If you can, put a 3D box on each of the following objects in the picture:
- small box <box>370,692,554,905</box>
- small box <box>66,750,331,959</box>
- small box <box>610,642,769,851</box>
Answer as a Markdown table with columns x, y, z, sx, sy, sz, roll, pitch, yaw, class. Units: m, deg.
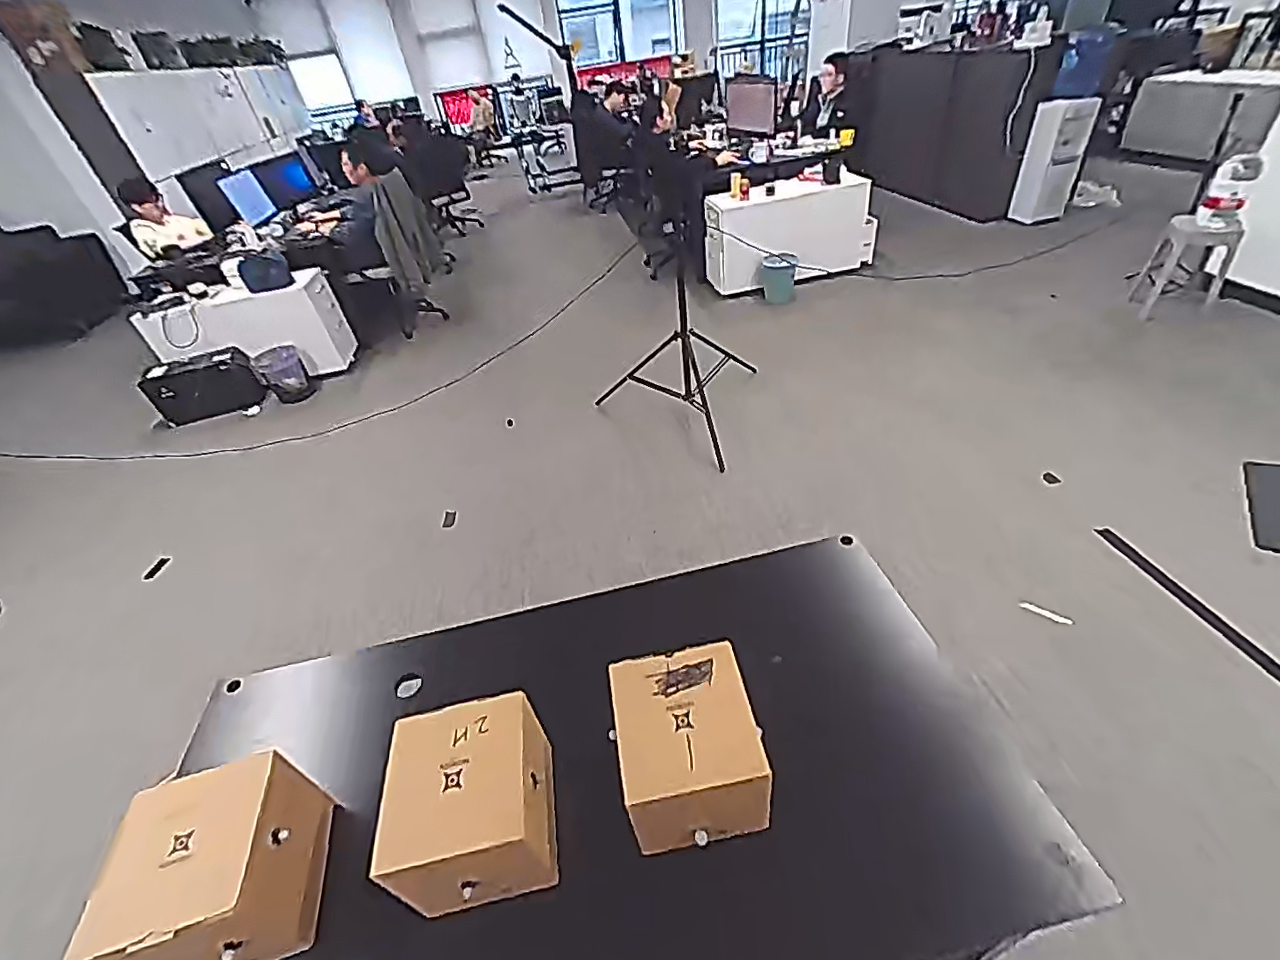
| x | y | z | sx | sy | sz | roll | pitch | yaw | class |
| --- | --- | --- | --- | --- | --- | --- | --- | --- | --- |
| -0.208 | 0.405 | 0.683 | 0.168 | 0.176 | 0.179 | -12 | 39 | -4 | small box |
| -0.507 | 0.475 | 0.660 | 0.168 | 0.176 | 0.179 | -15 | 39 | -9 | small box |
| 0.059 | 0.345 | 0.704 | 0.168 | 0.176 | 0.179 | -11 | 40 | -2 | small box |
